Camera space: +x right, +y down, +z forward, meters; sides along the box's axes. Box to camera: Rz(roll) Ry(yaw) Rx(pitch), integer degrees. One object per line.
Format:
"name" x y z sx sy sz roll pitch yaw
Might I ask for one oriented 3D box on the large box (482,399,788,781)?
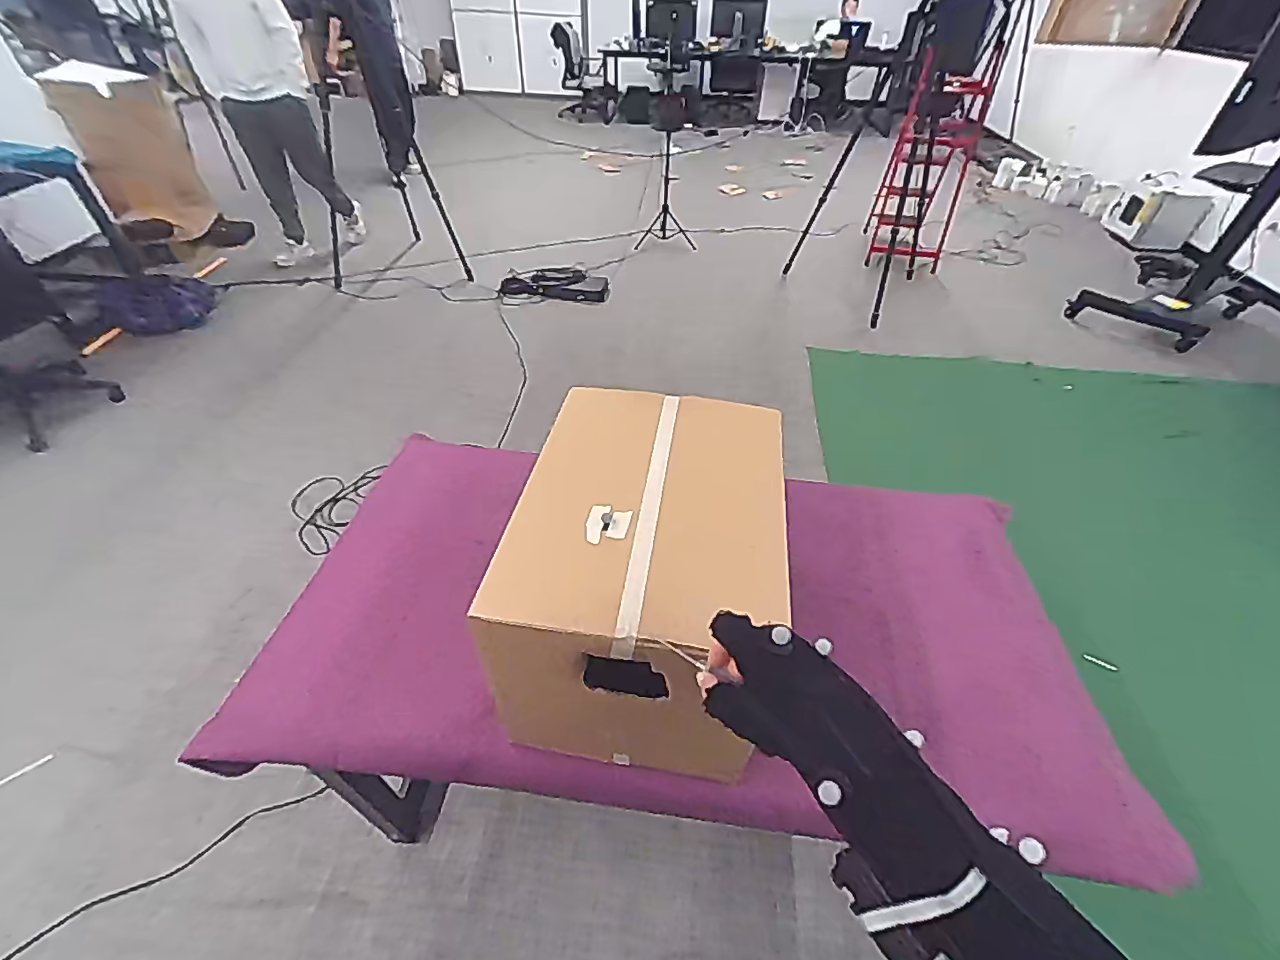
"large box" 0.013 0.139 0.768 0.320 0.320 0.408 8 44 6
